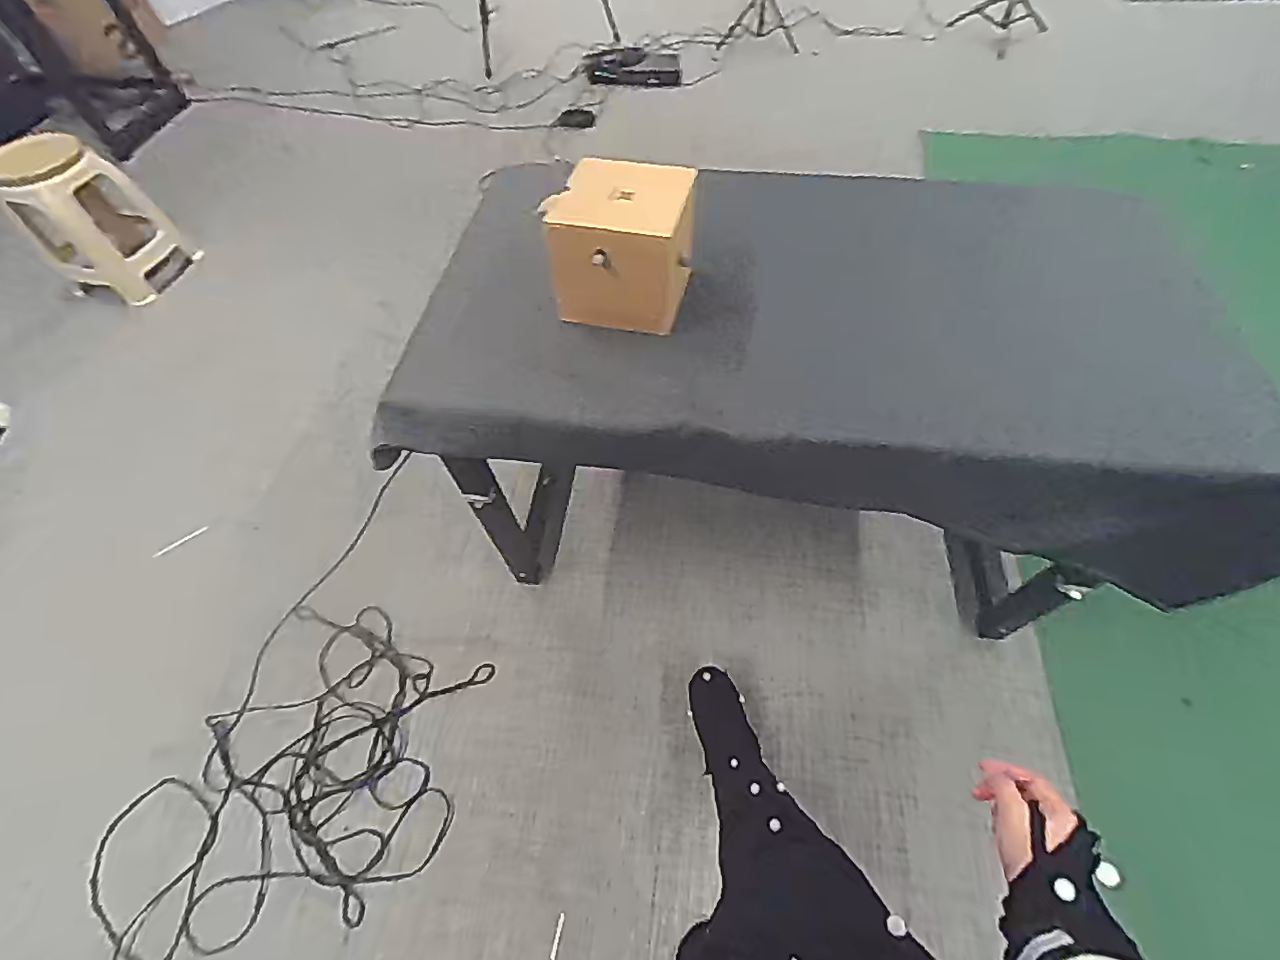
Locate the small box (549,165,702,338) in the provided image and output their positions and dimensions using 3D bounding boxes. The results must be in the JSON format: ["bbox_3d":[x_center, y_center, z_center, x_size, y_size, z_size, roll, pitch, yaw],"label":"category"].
[{"bbox_3d":[-0.014,-0.335,0.806,0.179,0.176,0.168,12,58,10],"label":"small box"}]
